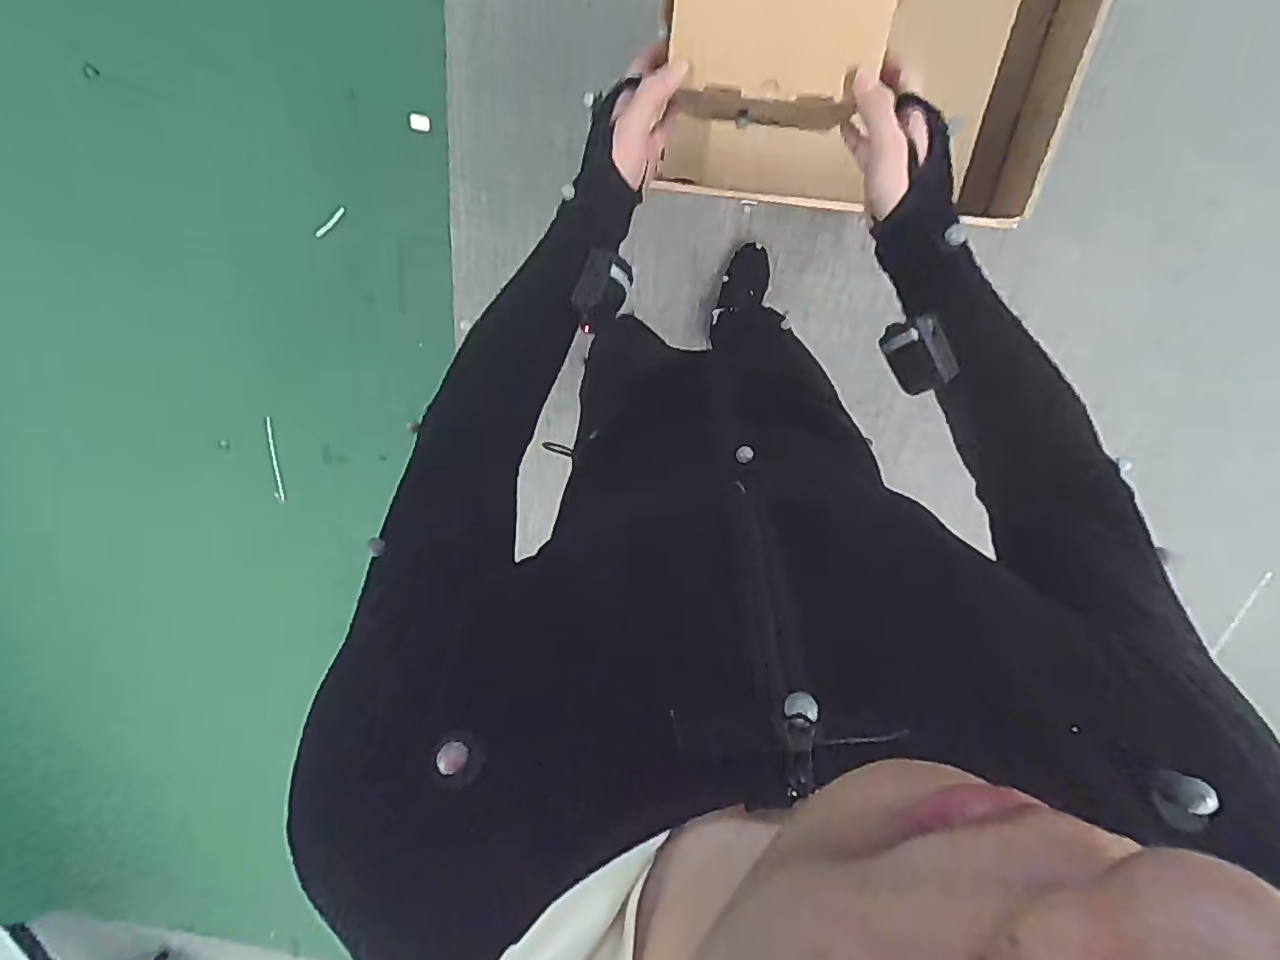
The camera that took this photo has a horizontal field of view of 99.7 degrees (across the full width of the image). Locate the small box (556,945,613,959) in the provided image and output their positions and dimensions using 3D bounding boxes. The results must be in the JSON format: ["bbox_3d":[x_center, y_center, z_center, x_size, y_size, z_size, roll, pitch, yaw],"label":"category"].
[{"bbox_3d":[-0.168,1.460,1.519,0.168,0.176,0.179,5,114,3],"label":"small box"}]

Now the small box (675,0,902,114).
[{"bbox_3d":[0.122,-0.430,0.453,0.168,0.176,0.179,7,118,2],"label":"small box"}]
